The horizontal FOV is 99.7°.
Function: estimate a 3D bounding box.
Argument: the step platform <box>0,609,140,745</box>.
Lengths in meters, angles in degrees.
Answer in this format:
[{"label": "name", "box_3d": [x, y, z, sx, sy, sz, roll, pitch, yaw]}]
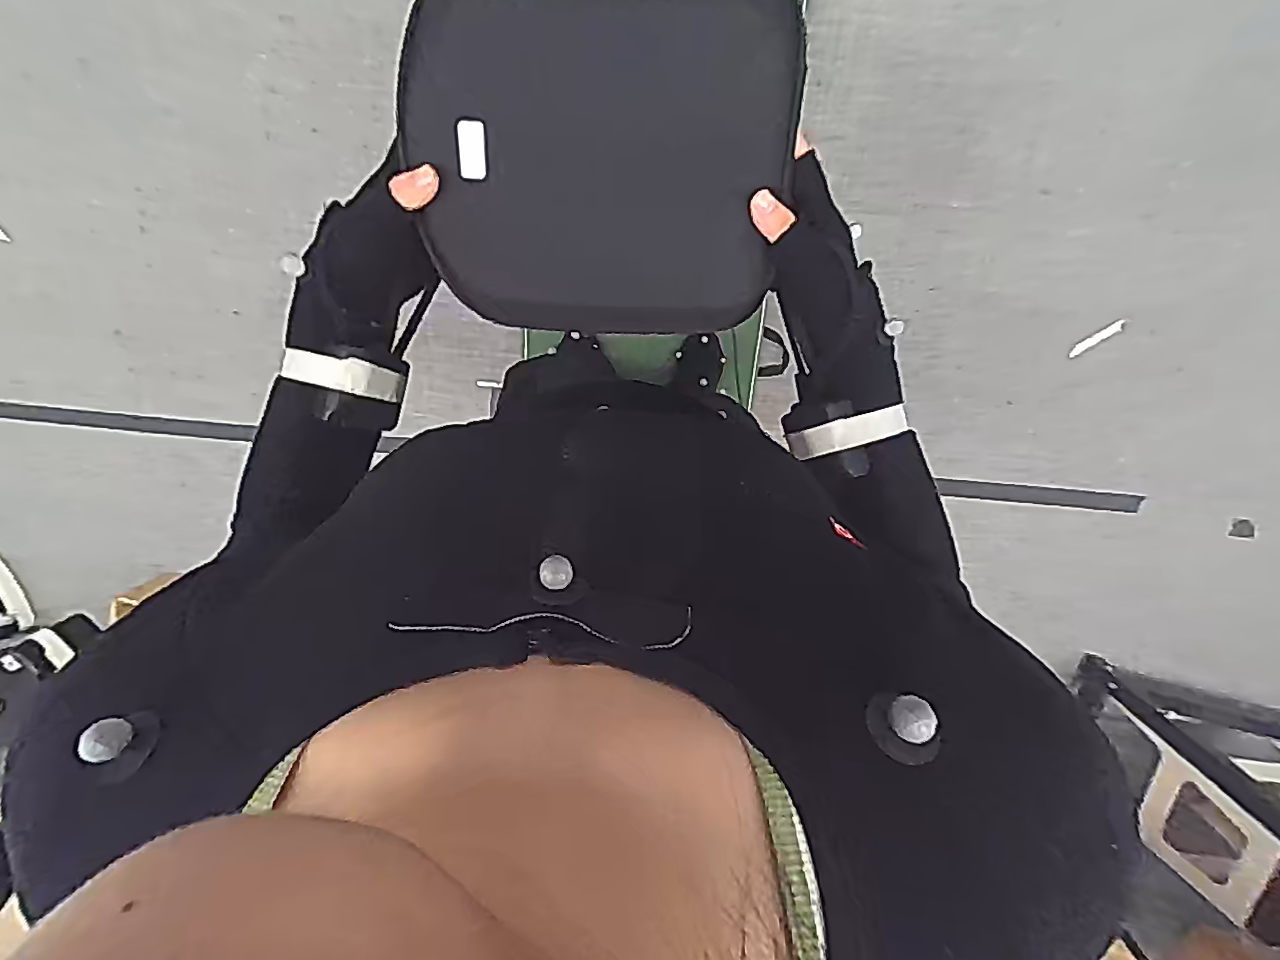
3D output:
[{"label": "step platform", "box_3d": [-2.048, 0.683, 1.773, 0.684, 0.204, 0.286, -23, 104, 9]}]
